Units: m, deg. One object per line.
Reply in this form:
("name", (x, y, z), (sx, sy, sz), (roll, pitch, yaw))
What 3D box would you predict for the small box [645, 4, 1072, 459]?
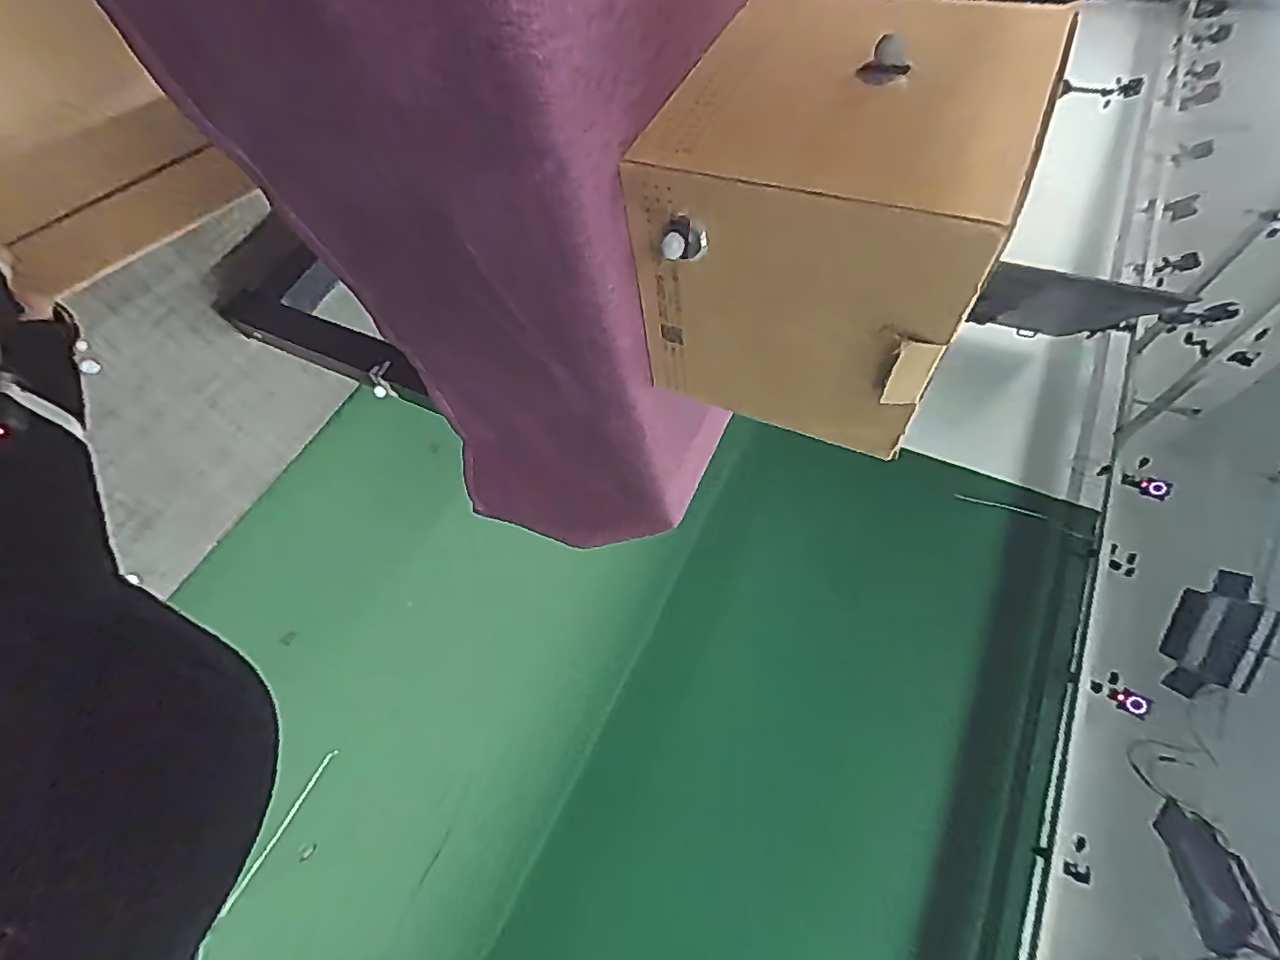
("small box", (0.110, -0.146, 0.326), (0.179, 0.176, 0.168), (-61, 160, -22))
